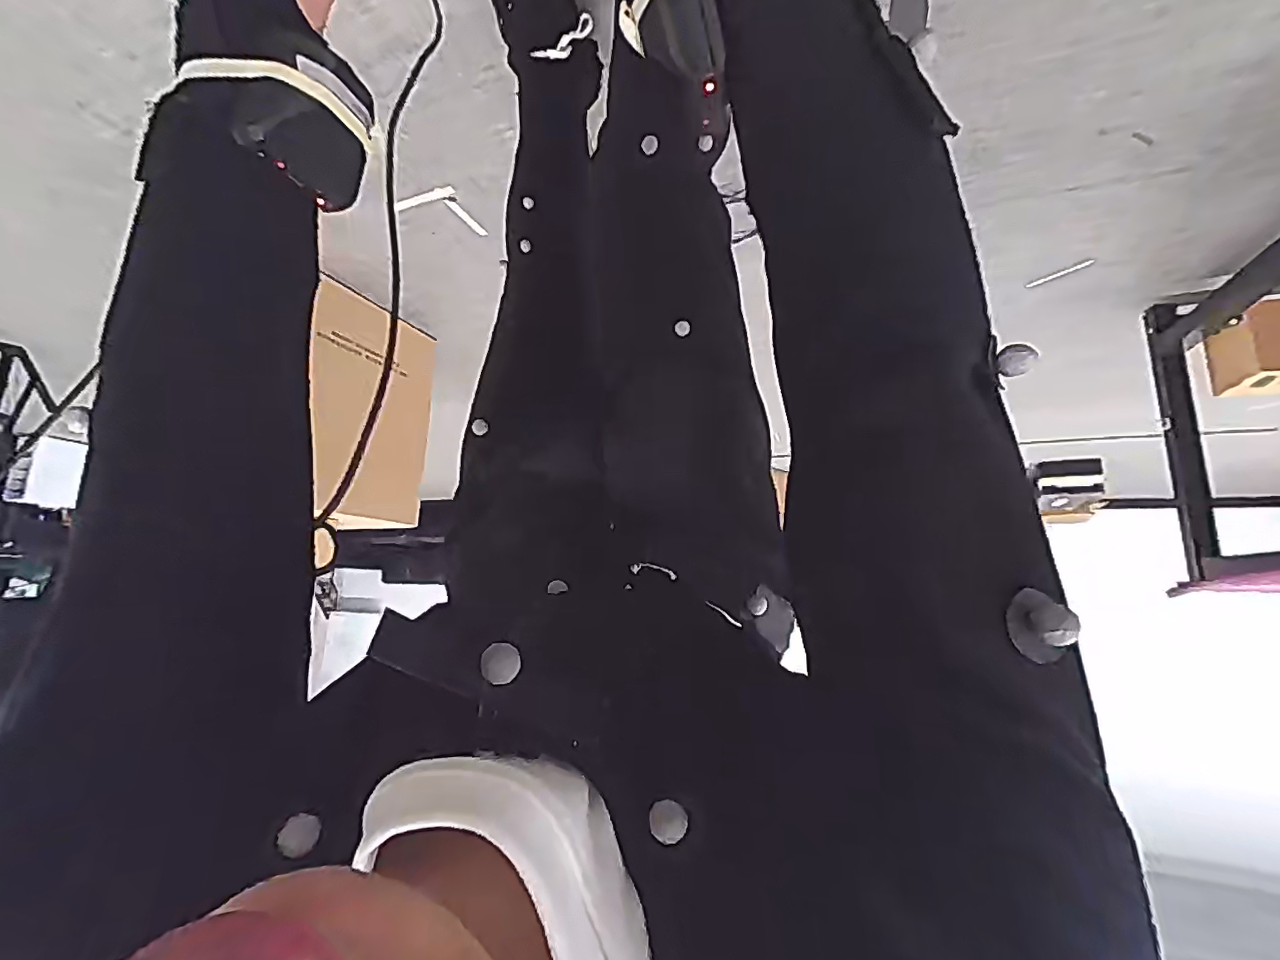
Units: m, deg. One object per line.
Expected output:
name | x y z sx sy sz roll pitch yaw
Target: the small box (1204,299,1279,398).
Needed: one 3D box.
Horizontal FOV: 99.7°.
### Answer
small box | 1.437 -0.299 1.217 0.179 0.176 0.168 -3 167 20
